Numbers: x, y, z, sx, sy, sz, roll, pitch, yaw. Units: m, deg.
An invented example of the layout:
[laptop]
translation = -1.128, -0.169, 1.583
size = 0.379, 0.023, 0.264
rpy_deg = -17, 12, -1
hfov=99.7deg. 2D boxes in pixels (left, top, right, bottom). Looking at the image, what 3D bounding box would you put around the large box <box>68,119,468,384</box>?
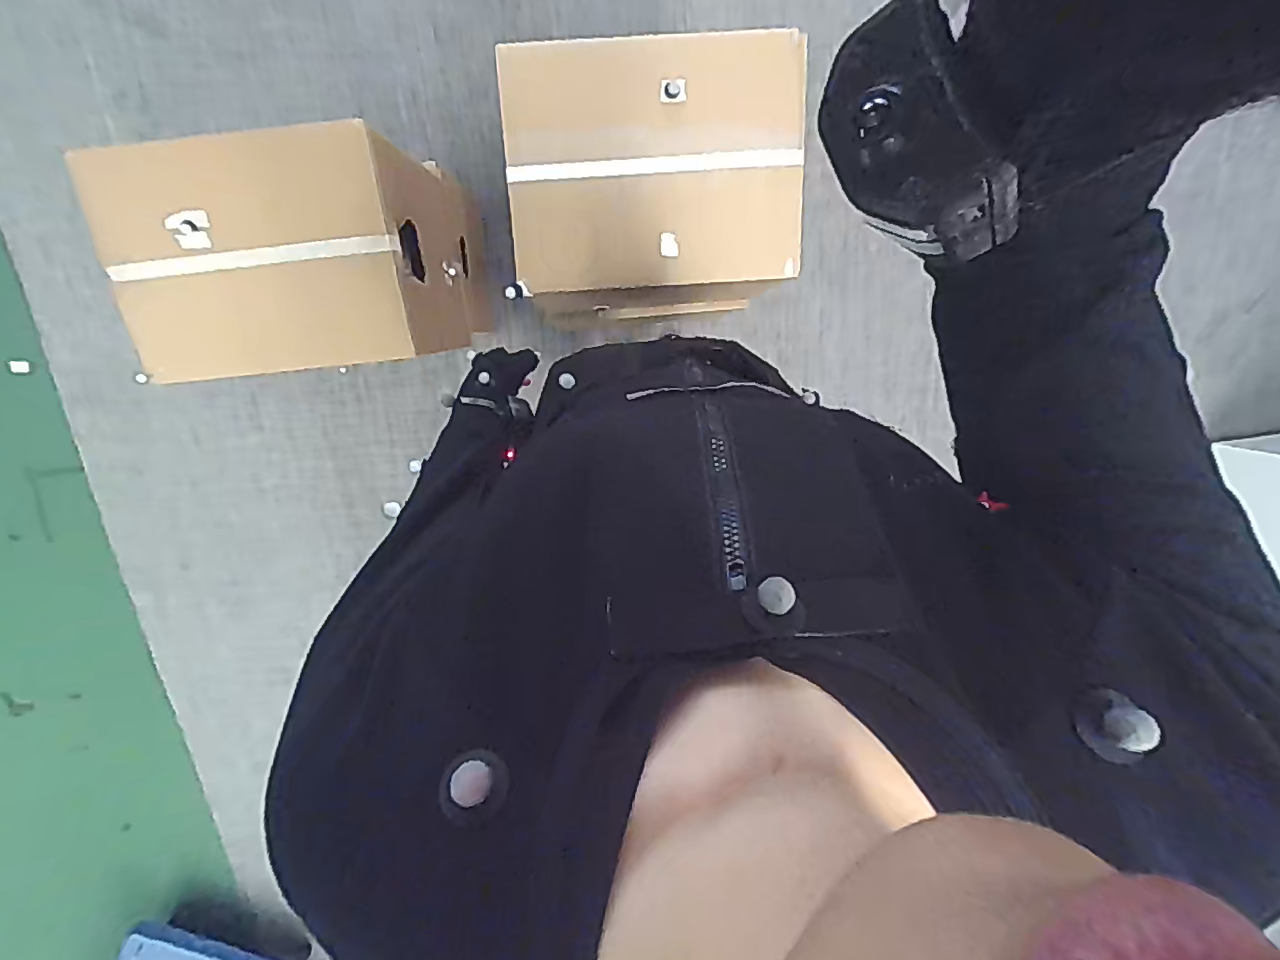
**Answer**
[large box]
translation = -0.551, -0.354, 0.899
size = 0.408, 0.320, 0.320
rpy_deg = -5, 107, 1
